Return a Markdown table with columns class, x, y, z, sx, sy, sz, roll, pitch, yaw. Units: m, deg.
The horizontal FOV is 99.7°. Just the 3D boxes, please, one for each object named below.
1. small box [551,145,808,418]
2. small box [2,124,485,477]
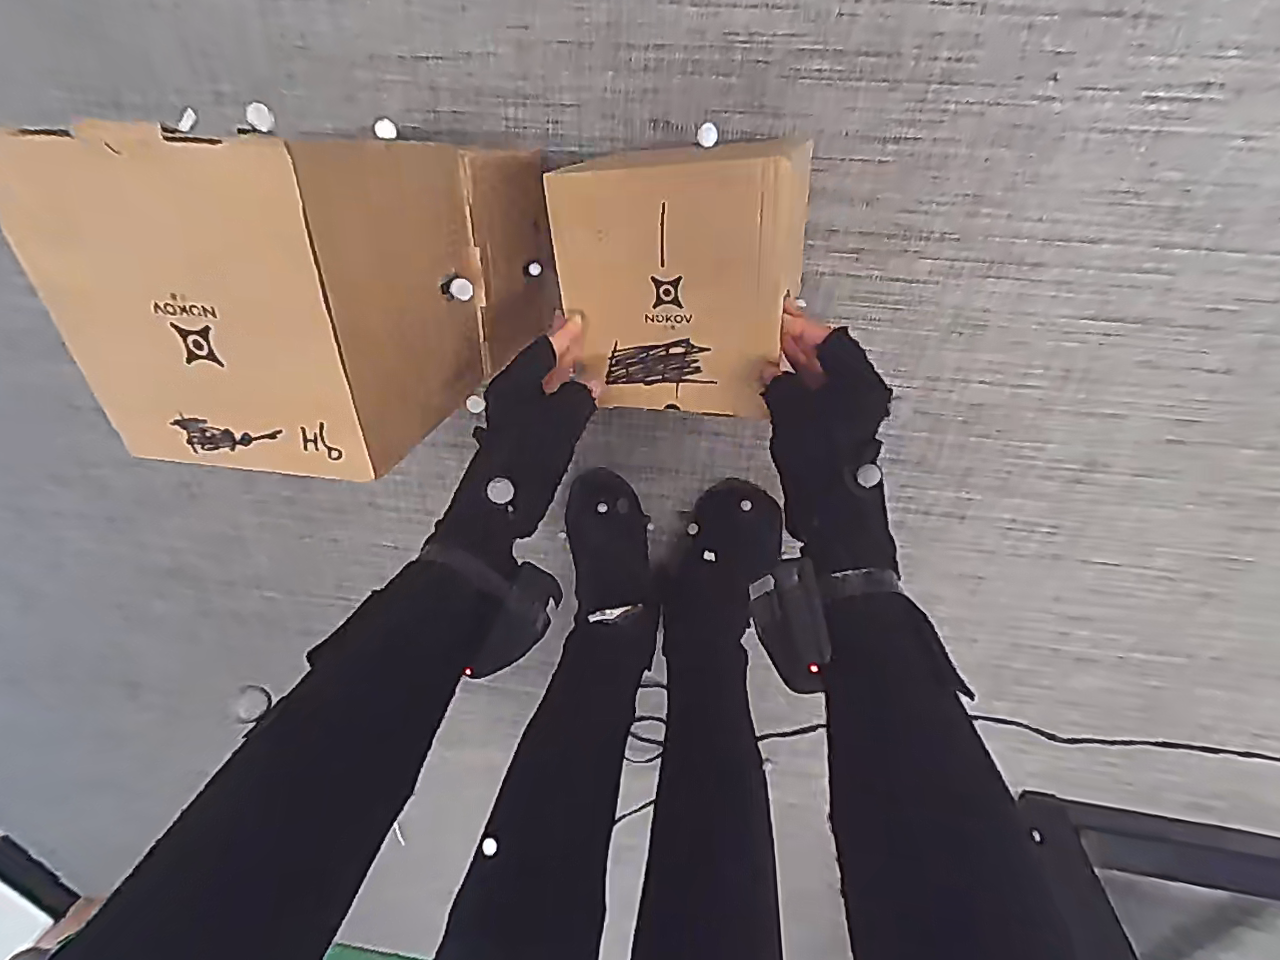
| class | x | y | z | sx | sy | sz | roll | pitch | yaw |
| --- | --- | --- | --- | --- | --- | --- | --- | --- | --- |
| small box | 0.046 | -0.173 | 0.458 | 0.168 | 0.176 | 0.179 | 7 | 125 | 17 |
| small box | -0.218 | -0.125 | 0.361 | 0.168 | 0.176 | 0.179 | 7 | 121 | 6 |
